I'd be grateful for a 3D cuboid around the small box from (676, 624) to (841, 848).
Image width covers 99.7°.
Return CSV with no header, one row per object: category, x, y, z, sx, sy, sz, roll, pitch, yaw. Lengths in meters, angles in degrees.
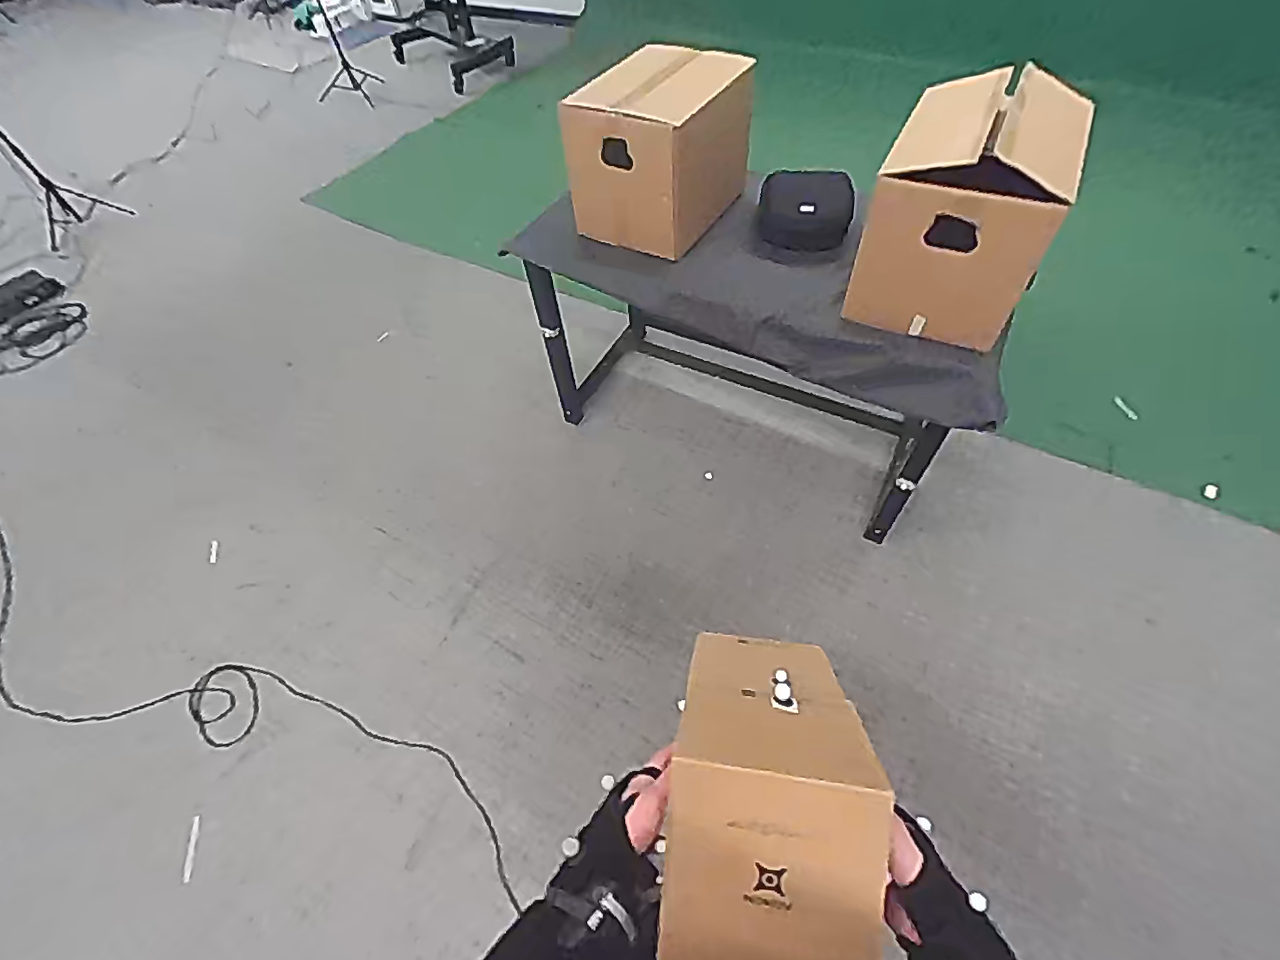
small box,0.140,0.295,0.661,0.168,0.176,0.179,4,94,10
